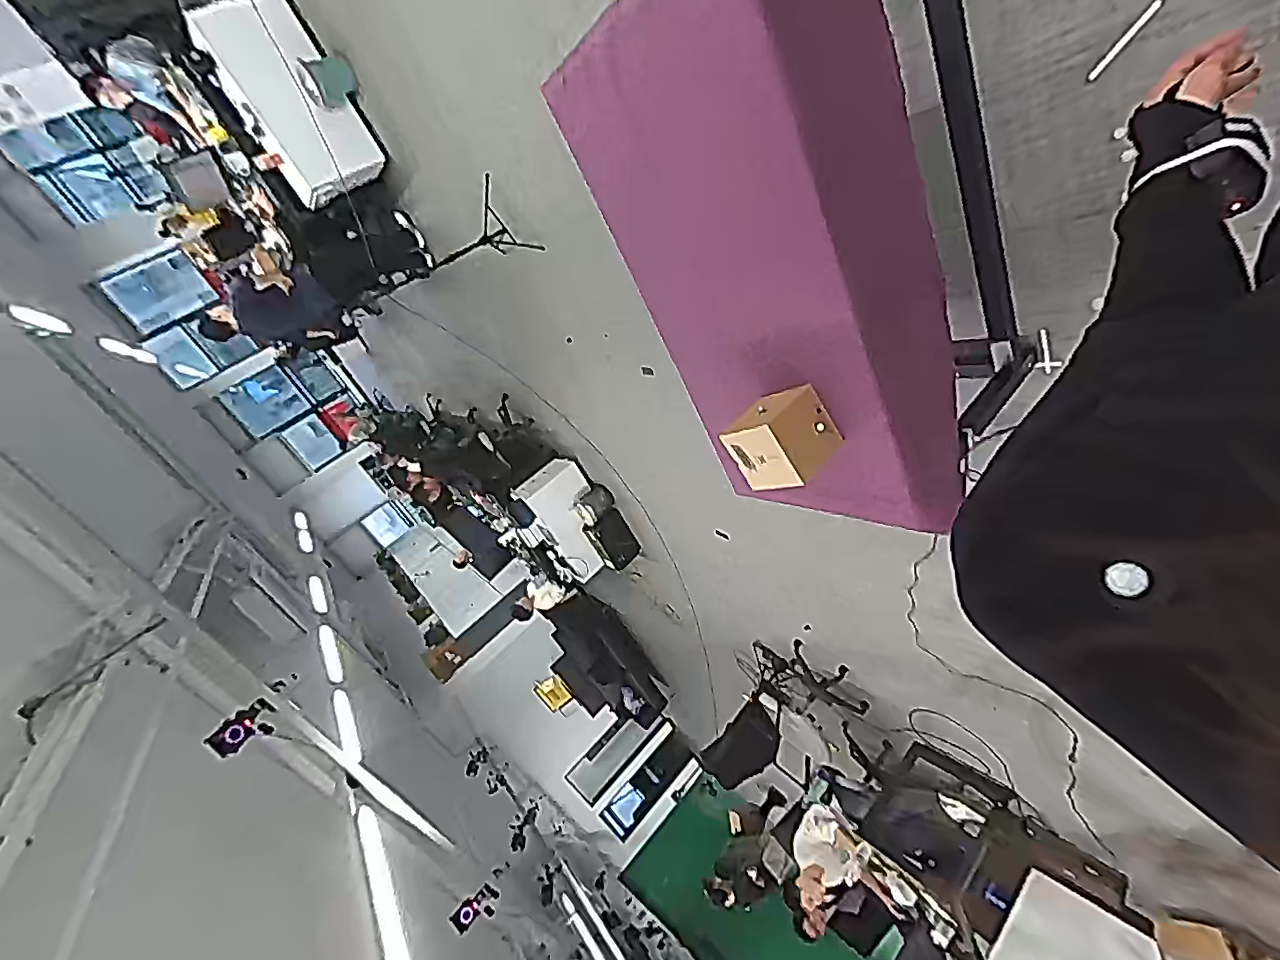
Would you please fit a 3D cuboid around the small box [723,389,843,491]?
[{"bbox_3d":[0.336,-0.090,1.269,0.168,0.176,0.179,54,156,-13],"label":"small box"}]
